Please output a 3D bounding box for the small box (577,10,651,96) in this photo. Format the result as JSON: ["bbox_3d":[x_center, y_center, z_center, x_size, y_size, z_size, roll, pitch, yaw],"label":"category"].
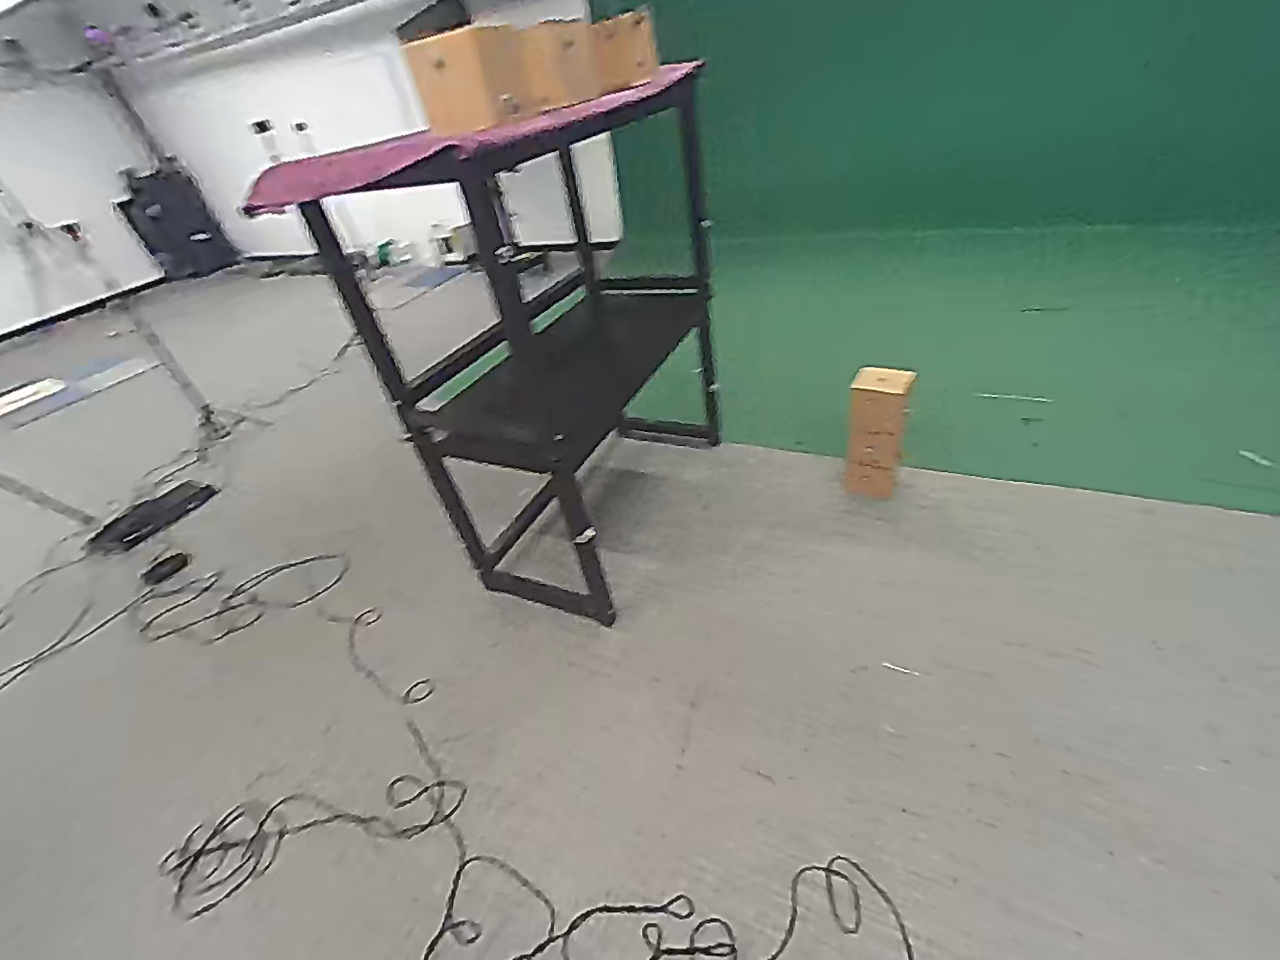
[{"bbox_3d":[-0.089,-1.271,1.615,0.179,0.176,0.168,10,44,29],"label":"small box"}]

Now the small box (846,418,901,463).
[{"bbox_3d":[0.905,-0.187,2.094,0.168,0.176,0.179,14,45,31],"label":"small box"}]

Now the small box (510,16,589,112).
[{"bbox_3d":[-0.249,-1.051,1.378,0.168,0.176,0.179,9,41,27],"label":"small box"}]

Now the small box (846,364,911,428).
[{"bbox_3d":[0.871,-0.308,1.984,0.179,0.176,0.168,17,46,33],"label":"small box"}]

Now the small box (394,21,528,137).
[{"bbox_3d":[-0.364,-0.833,1.129,0.179,0.176,0.168,8,42,22],"label":"small box"}]
